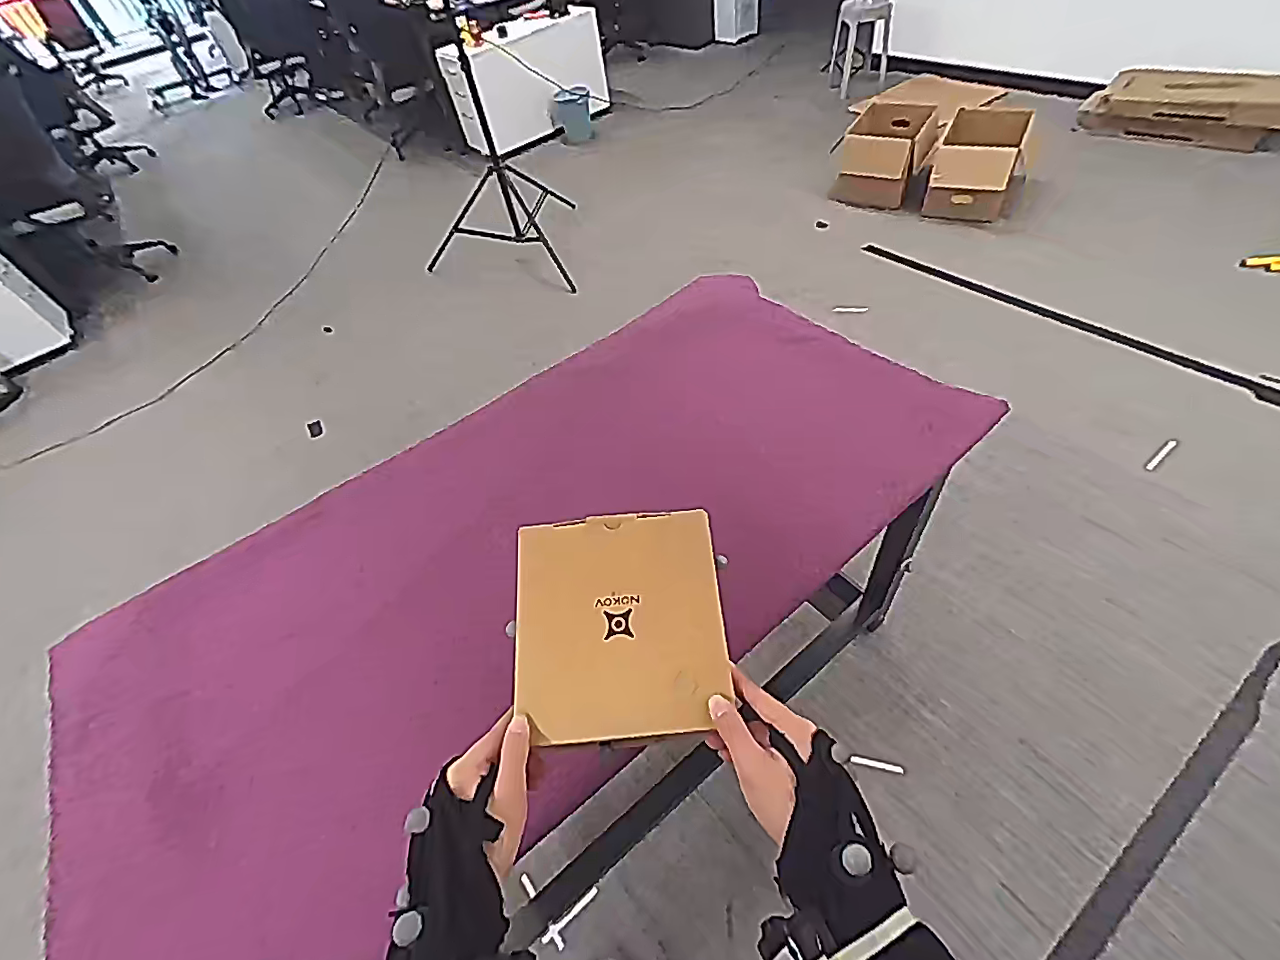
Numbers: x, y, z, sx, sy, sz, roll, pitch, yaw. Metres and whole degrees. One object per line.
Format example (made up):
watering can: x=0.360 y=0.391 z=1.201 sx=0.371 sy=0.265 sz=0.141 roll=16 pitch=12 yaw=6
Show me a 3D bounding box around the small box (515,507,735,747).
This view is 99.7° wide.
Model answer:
small box: x=-0.011 y=0.144 z=0.500 sx=0.168 sy=0.176 sz=0.179 roll=-6 pitch=61 yaw=1
